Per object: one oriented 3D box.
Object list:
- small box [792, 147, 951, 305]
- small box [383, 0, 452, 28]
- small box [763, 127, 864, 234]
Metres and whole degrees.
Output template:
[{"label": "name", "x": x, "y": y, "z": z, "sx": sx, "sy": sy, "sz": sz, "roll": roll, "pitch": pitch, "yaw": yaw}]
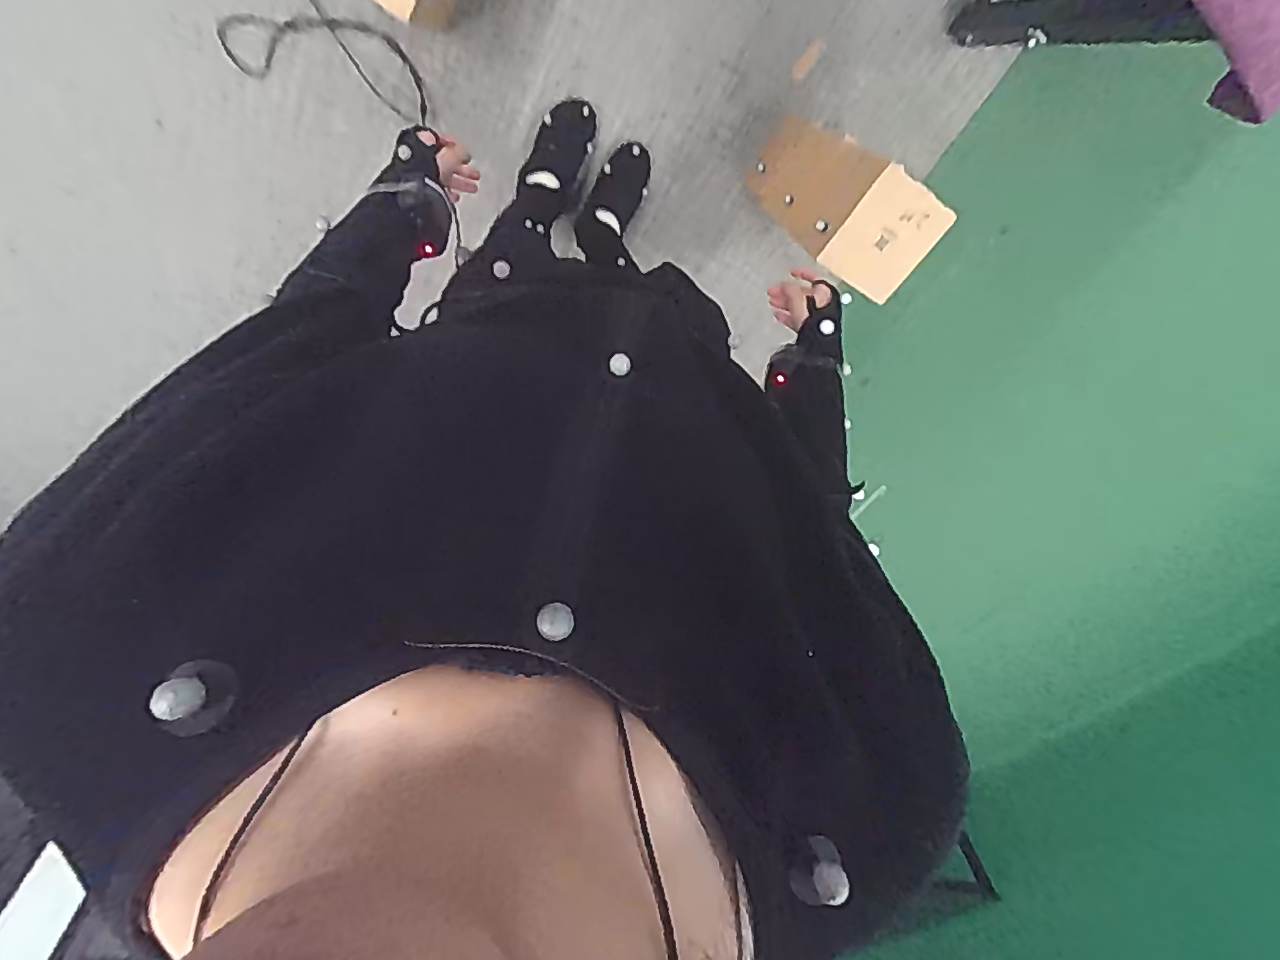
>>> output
[{"label": "small box", "x": 0.395, "y": -0.453, "z": 0.961, "sx": 0.168, "sy": 0.176, "sz": 0.179, "roll": 22, "pitch": 124, "yaw": -24}, {"label": "small box", "x": -0.396, "y": -0.911, "z": 0.912, "sx": 0.168, "sy": 0.176, "sz": 0.179, "roll": 26, "pitch": 121, "yaw": -25}, {"label": "small box", "x": 0.372, "y": -0.568, "z": 1.078, "sx": 0.168, "sy": 0.176, "sz": 0.179, "roll": 22, "pitch": 124, "yaw": -23}]
